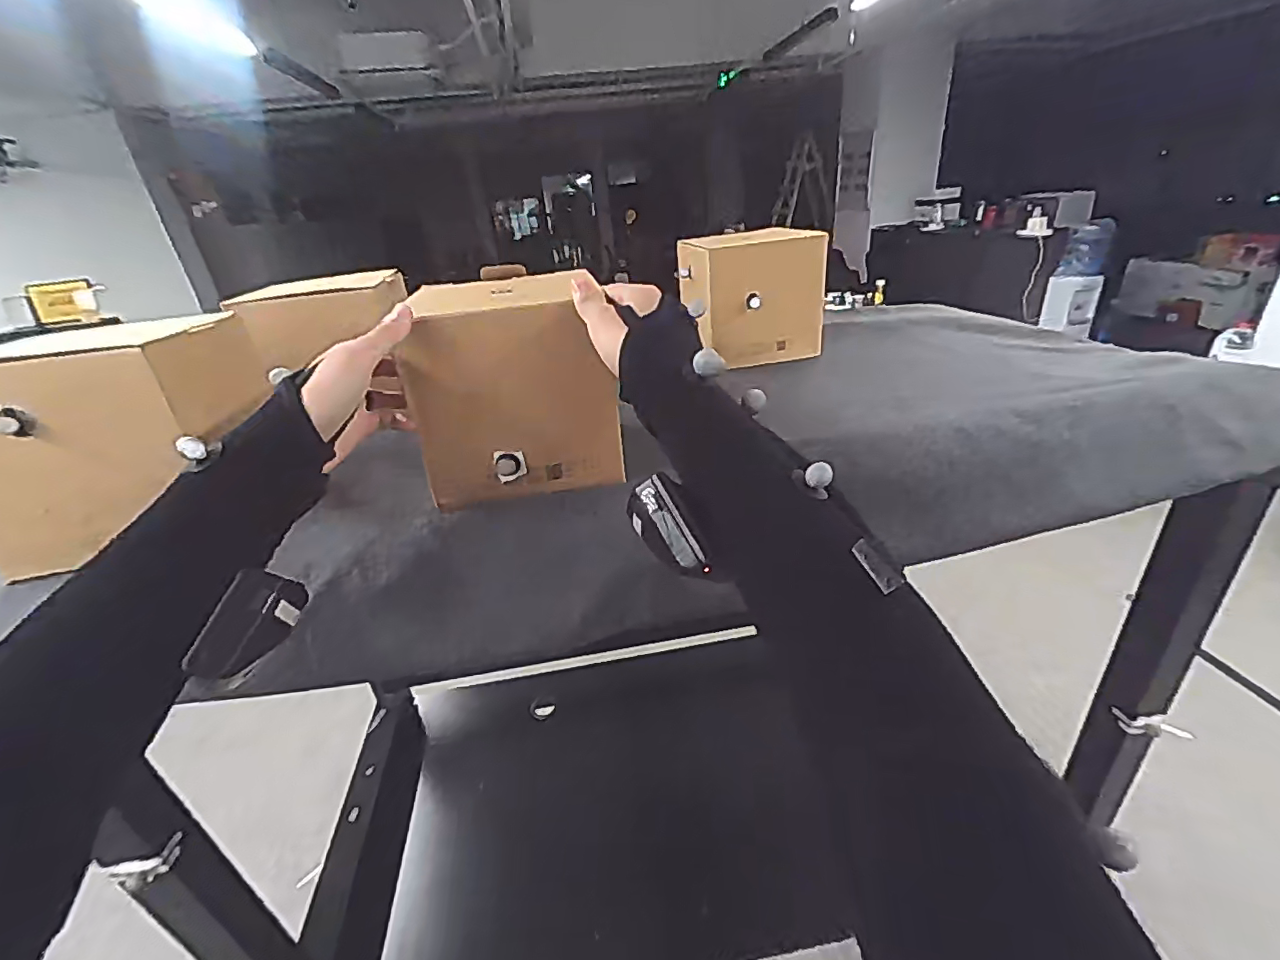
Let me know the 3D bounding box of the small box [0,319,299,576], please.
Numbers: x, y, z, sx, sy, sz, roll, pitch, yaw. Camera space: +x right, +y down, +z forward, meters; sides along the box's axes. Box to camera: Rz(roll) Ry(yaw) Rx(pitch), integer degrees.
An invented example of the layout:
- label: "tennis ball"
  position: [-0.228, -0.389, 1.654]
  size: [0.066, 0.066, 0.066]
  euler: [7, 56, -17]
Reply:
- label: "small box"
  position: [-0.444, -0.035, 0.474]
  size: [0.179, 0.176, 0.168]
  euler: [-10, 27, -9]

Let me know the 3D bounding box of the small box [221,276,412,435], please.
- label: "small box"
  position: [-0.407, -0.174, 0.738]
  size: [0.179, 0.176, 0.168]
  euler: [-9, 27, -8]

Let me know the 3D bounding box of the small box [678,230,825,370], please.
- label: "small box"
  position: [0.159, -0.268, 0.806]
  size: [0.168, 0.176, 0.179]
  euler: [-10, 27, -6]

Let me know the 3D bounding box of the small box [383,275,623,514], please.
- label: "small box"
  position: [-0.113, -0.088, 0.506]
  size: [0.168, 0.176, 0.179]
  euler: [-9, 28, -7]
